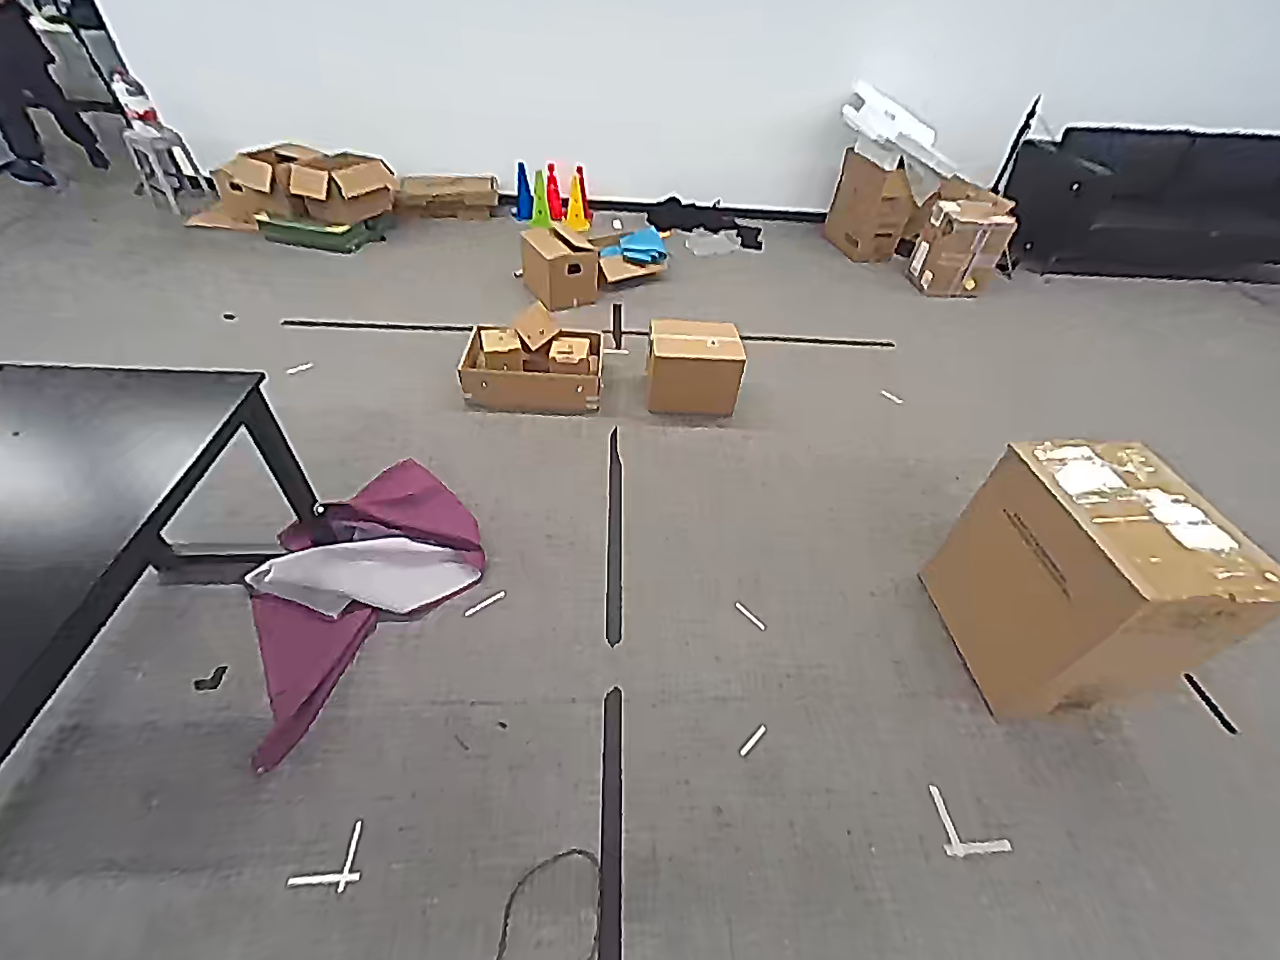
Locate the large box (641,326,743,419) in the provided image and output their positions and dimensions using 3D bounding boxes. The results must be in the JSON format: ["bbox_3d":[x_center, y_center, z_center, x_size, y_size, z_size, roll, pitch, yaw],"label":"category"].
[{"bbox_3d":[0.227,-0.501,2.532,0.408,0.320,0.320,1,45,-6],"label":"large box"}]
